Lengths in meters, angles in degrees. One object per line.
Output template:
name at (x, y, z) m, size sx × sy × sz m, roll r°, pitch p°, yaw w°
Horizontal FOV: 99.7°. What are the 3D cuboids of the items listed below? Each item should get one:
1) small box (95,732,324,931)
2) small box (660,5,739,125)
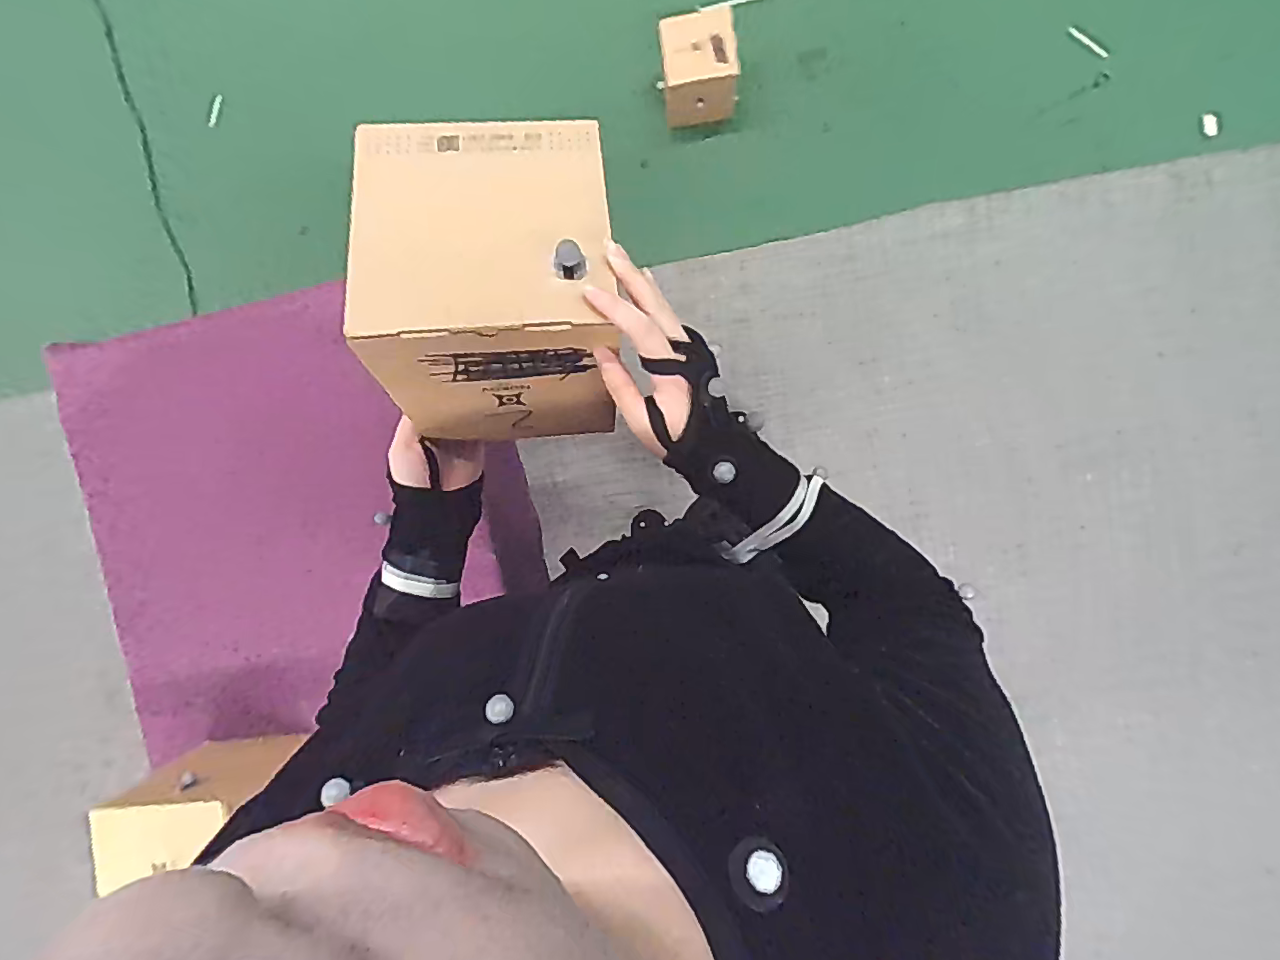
small box at (-0.574, 0.467, 0.741) m, size 0.179 × 0.176 × 0.168 m, roll -6°, pitch 91°, yaw 3°
small box at (0.148, -1.052, 1.384) m, size 0.179 × 0.176 × 0.168 m, roll -8°, pitch 91°, yaw 5°
